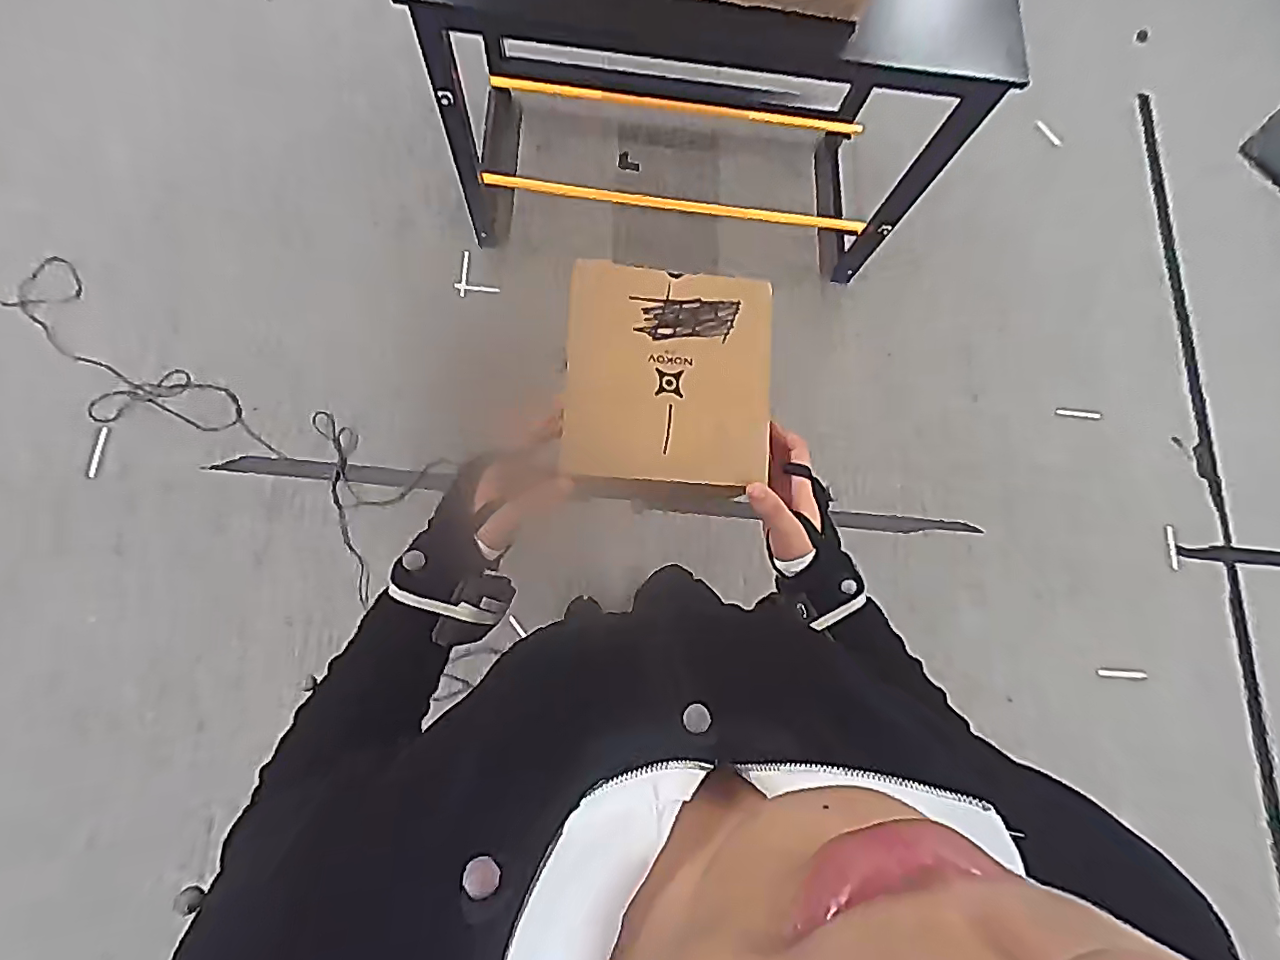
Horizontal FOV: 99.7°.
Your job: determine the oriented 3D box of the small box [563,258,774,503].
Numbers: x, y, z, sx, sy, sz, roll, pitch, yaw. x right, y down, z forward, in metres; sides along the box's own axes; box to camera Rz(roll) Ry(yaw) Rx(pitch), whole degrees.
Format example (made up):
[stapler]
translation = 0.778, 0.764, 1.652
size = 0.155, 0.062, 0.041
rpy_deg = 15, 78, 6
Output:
[small box]
translation = 0.016, -0.077, 0.512
size = 0.168, 0.176, 0.179
rpy_deg = 4, 82, -7
